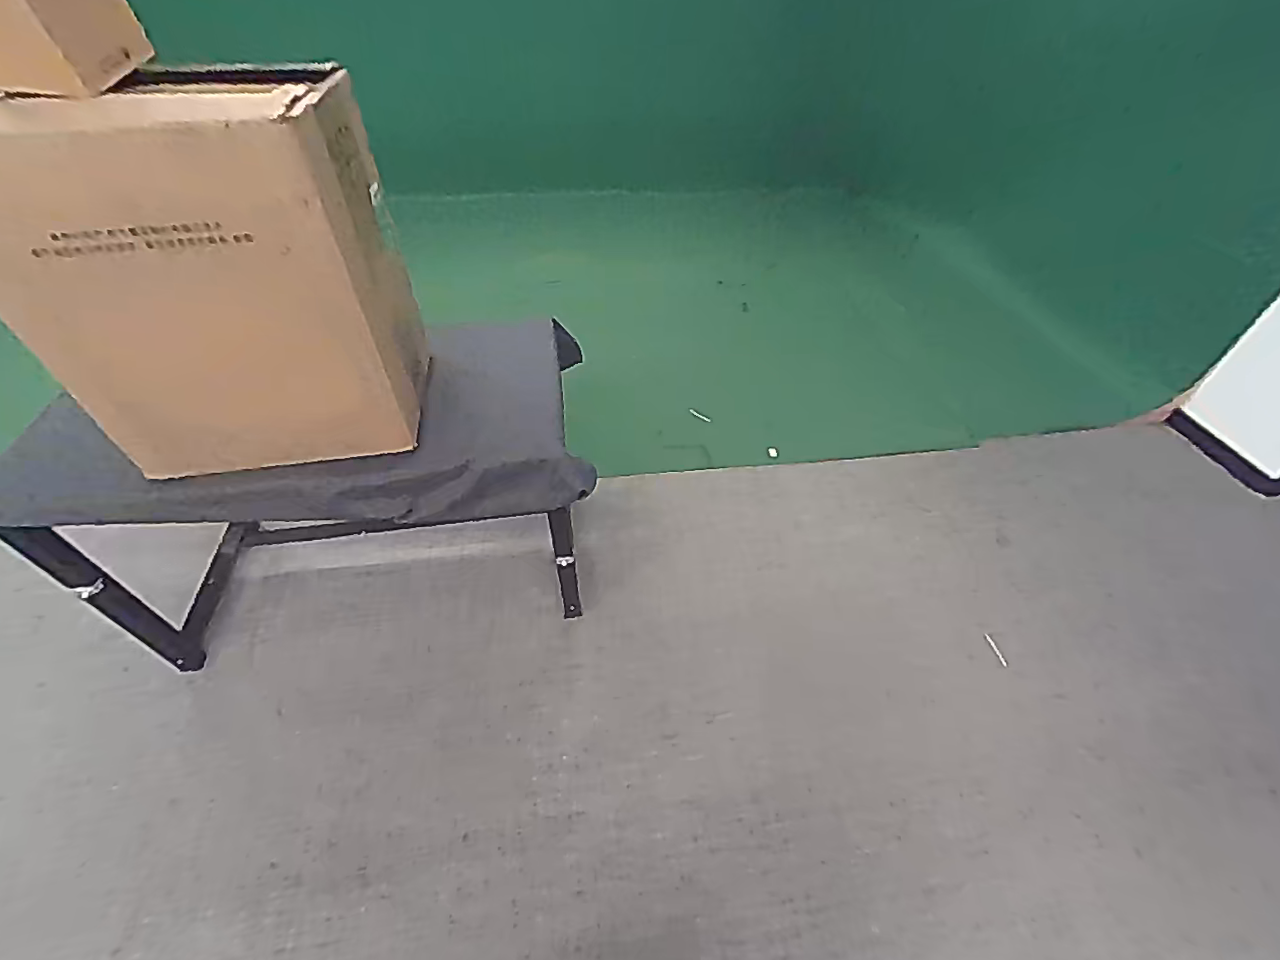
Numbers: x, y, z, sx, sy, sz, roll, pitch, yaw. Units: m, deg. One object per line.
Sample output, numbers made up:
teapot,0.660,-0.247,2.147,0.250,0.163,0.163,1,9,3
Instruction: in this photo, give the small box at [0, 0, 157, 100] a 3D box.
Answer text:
small box,-0.850,-0.657,0.750,0.179,0.176,0.168,4,57,0
